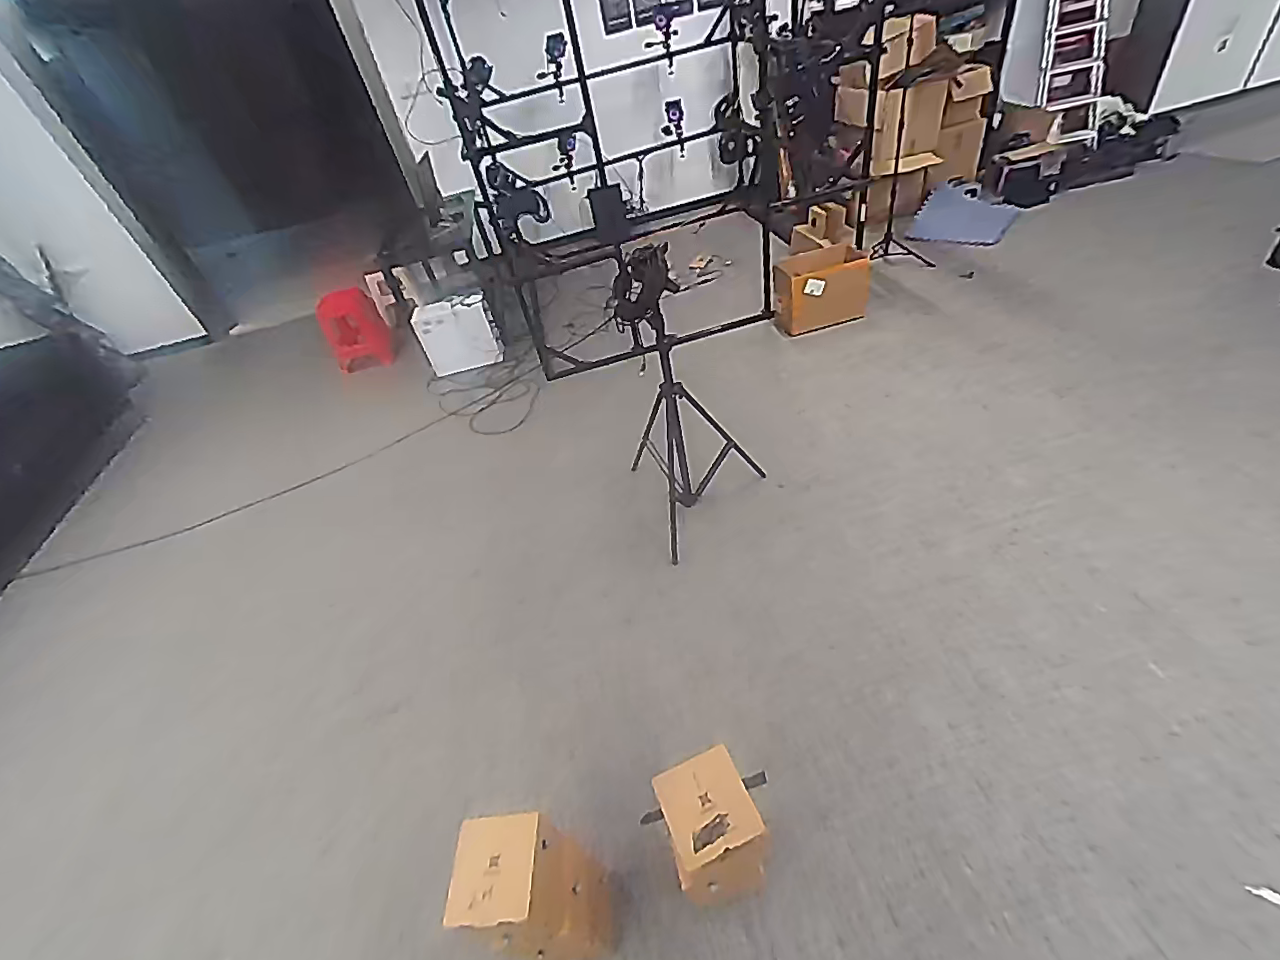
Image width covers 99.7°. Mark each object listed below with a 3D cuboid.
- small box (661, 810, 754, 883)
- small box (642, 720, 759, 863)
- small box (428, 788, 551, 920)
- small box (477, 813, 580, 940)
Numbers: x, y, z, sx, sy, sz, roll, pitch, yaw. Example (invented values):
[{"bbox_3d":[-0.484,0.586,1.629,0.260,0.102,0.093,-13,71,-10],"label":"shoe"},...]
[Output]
[{"bbox_3d":[0.138,0.732,1.172,0.168,0.176,0.179,-17,42,-3],"label":"small box"},{"bbox_3d":[0.122,0.614,1.057,0.168,0.176,0.179,-22,43,-9],"label":"small box"},{"bbox_3d":[-0.279,0.727,1.050,0.168,0.176,0.179,-10,43,7],"label":"small box"},{"bbox_3d":[-0.230,0.846,1.153,0.168,0.176,0.179,-14,43,2],"label":"small box"}]
